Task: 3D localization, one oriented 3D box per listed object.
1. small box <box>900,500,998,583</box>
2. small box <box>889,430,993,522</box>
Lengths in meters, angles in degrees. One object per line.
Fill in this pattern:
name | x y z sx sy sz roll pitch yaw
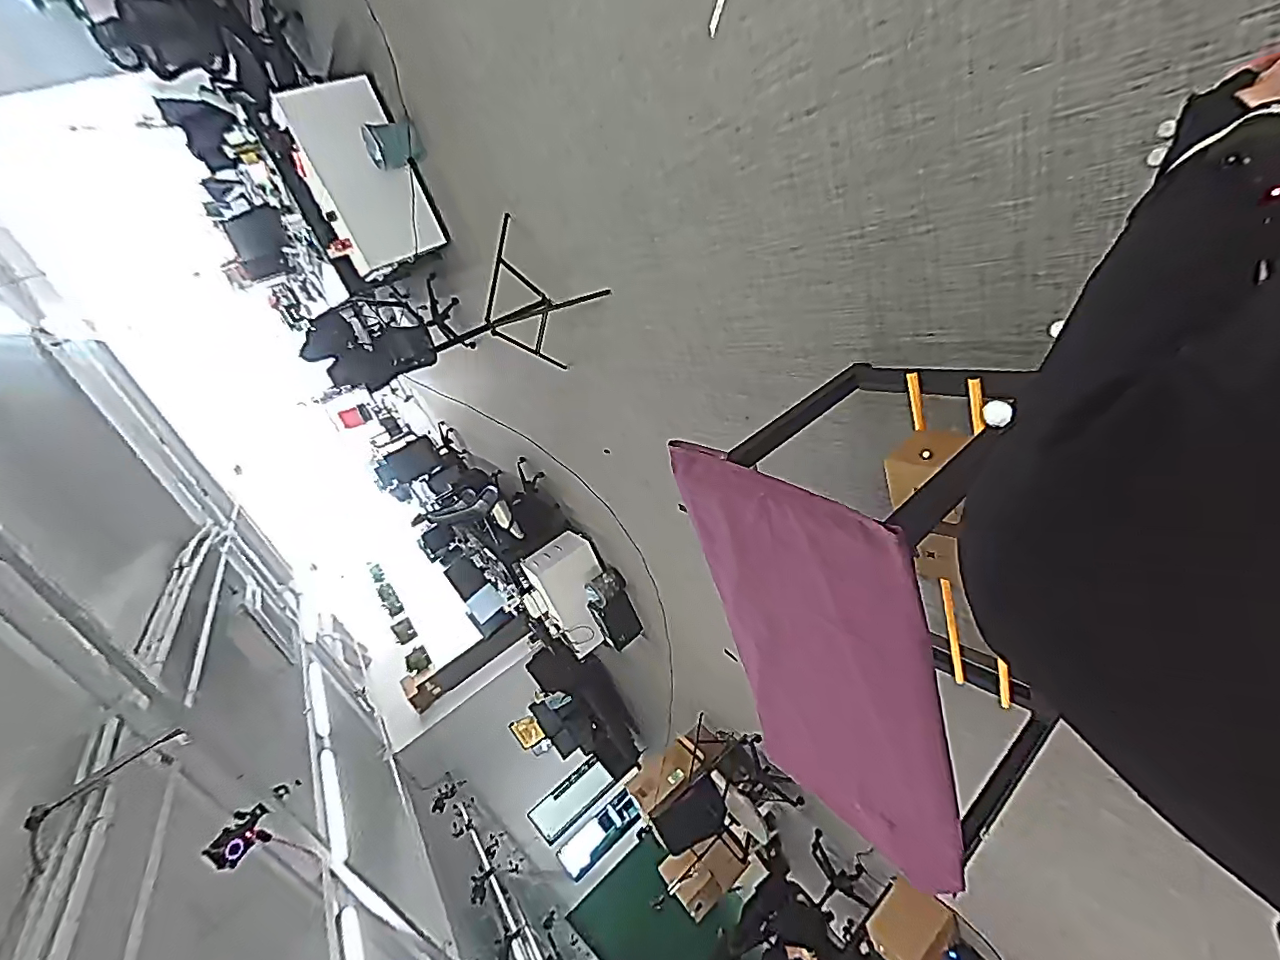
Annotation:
small box | 0.860 0.152 1.505 0.179 0.176 0.168 15 135 53
small box | 0.787 -0.019 1.414 0.179 0.176 0.168 16 136 54
